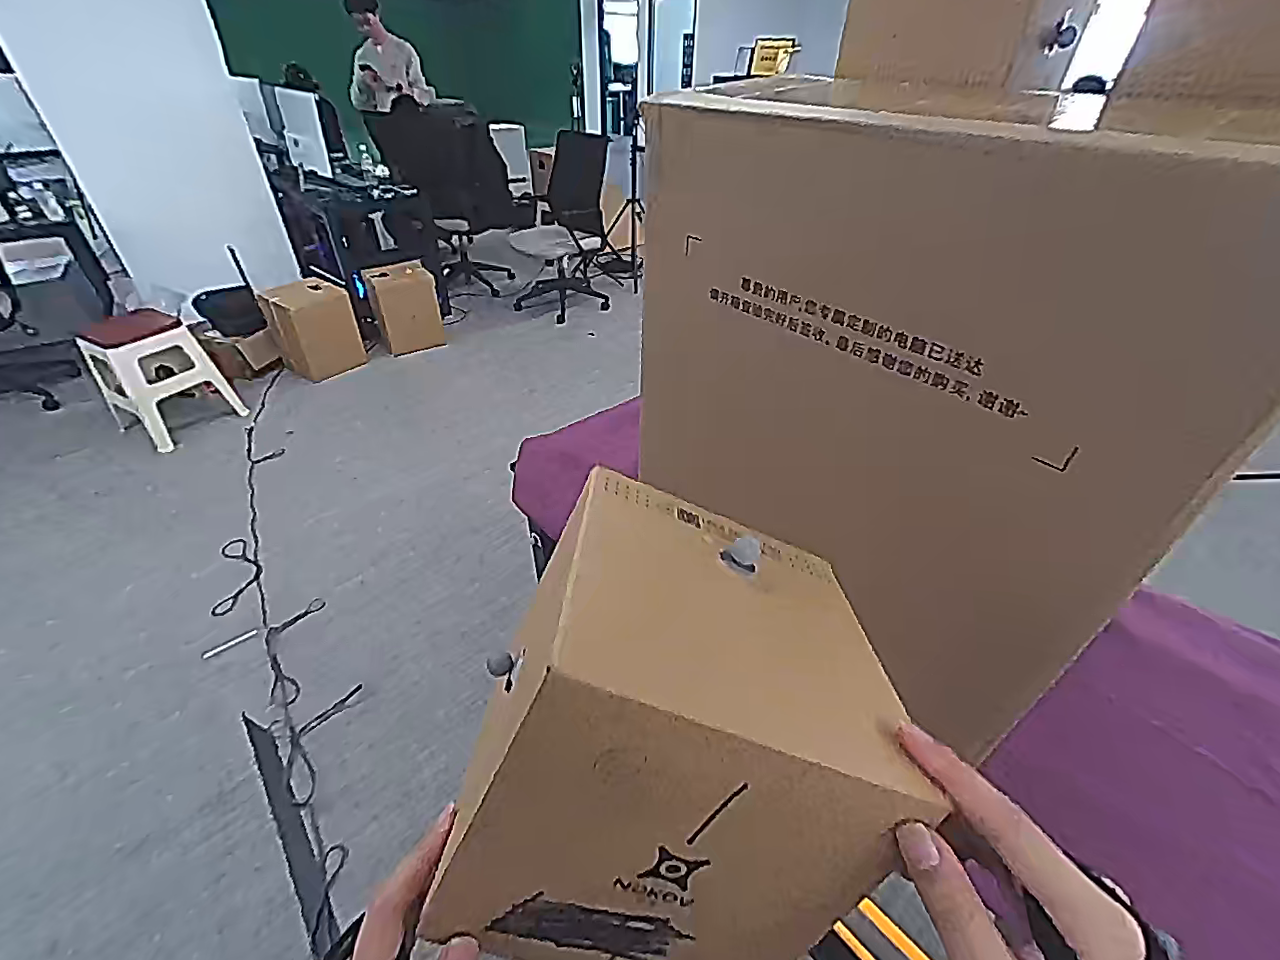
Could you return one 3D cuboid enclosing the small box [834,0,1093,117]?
[{"bbox_3d":[0.320,-0.466,0.530,0.168,0.176,0.179,-30,50,-31],"label":"small box"}]

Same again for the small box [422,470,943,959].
[{"bbox_3d":[0.010,0.124,0.297,0.168,0.179,0.176,23,23,-10],"label":"small box"}]

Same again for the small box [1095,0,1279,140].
[{"bbox_3d":[0.491,-0.355,0.396,0.179,0.176,0.168,30,47,34],"label":"small box"}]
